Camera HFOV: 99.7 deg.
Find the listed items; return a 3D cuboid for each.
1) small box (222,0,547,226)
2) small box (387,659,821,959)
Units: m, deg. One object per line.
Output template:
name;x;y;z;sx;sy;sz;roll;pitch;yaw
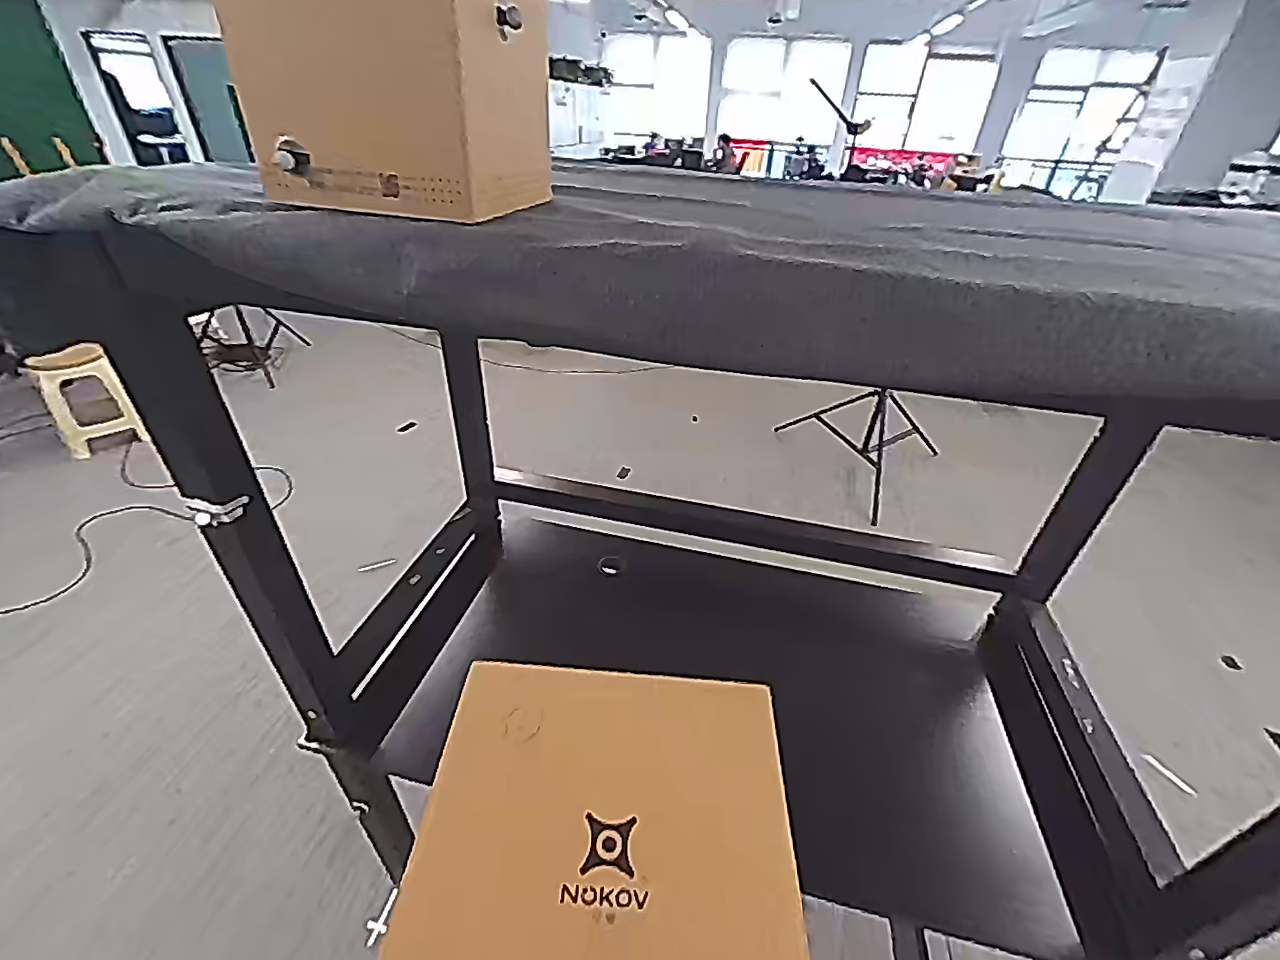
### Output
small box;-0.174;-0.302;0.420;0.168;0.176;0.179;9;32;7
small box;-0.016;0.221;0.279;0.168;0.176;0.179;5;39;-1
